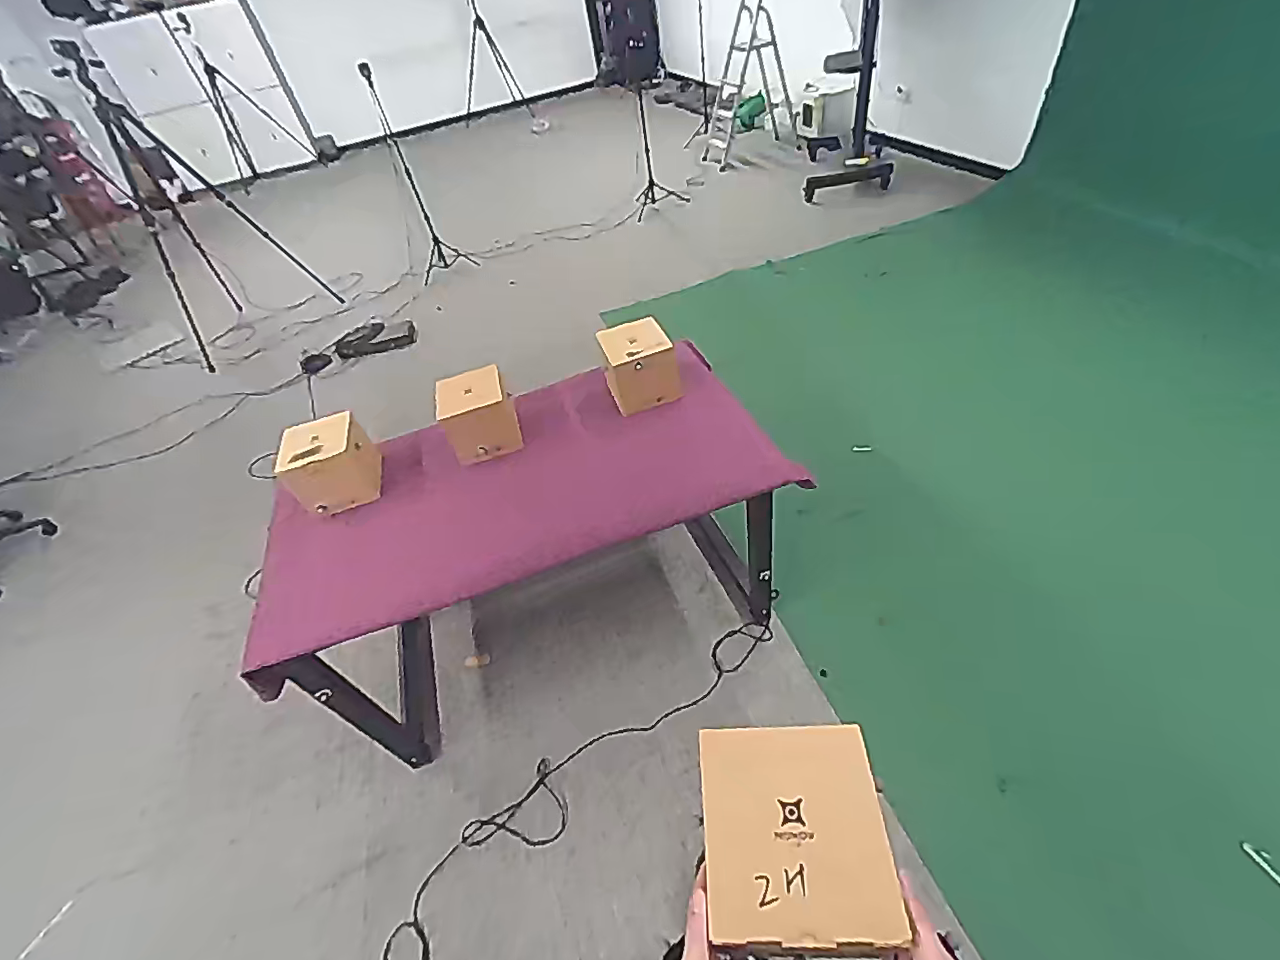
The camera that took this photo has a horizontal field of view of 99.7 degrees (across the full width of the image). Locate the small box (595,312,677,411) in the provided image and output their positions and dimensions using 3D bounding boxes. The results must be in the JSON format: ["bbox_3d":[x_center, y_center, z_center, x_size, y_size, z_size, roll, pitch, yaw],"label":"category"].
[{"bbox_3d":[-0.009,-0.313,1.436,0.168,0.176,0.179,-19,46,-6],"label":"small box"}]

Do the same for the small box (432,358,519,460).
[{"bbox_3d":[-0.423,-0.181,1.391,0.168,0.176,0.179,-17,47,-5],"label":"small box"}]

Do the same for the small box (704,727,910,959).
[{"bbox_3d":[0.153,0.377,0.562,0.168,0.176,0.179,-4,47,7],"label":"small box"}]

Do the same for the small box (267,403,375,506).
[{"bbox_3d":[-0.774,-0.056,1.332,0.168,0.176,0.179,-18,47,-7],"label":"small box"}]
